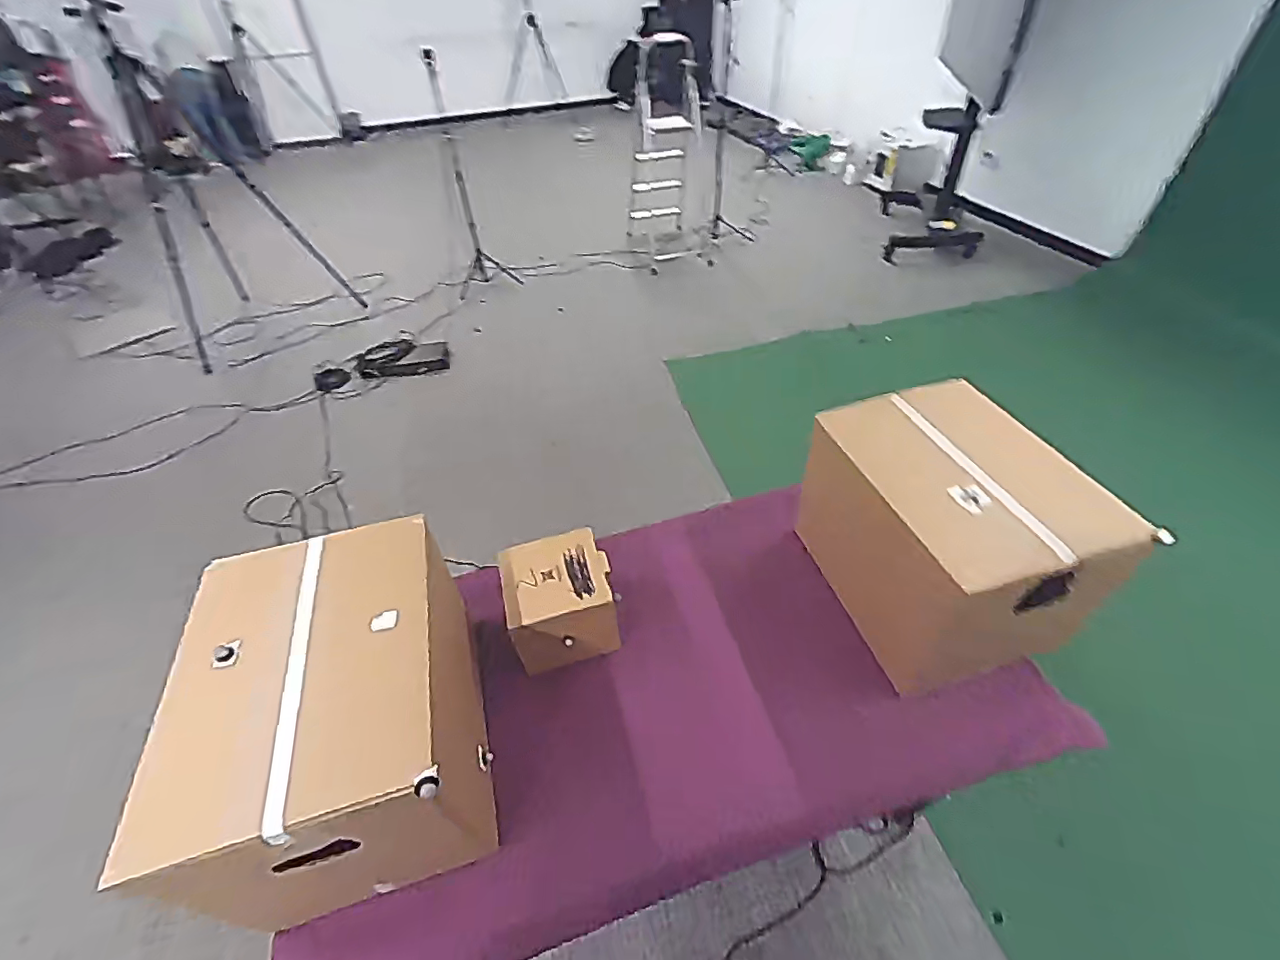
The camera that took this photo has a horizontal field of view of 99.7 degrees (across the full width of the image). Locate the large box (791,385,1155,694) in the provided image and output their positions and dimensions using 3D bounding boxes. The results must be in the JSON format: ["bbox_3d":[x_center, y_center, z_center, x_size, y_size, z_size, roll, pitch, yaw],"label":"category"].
[{"bbox_3d":[0.515,0.090,0.956,0.320,0.320,0.408,-14,46,-8],"label":"large box"}]
